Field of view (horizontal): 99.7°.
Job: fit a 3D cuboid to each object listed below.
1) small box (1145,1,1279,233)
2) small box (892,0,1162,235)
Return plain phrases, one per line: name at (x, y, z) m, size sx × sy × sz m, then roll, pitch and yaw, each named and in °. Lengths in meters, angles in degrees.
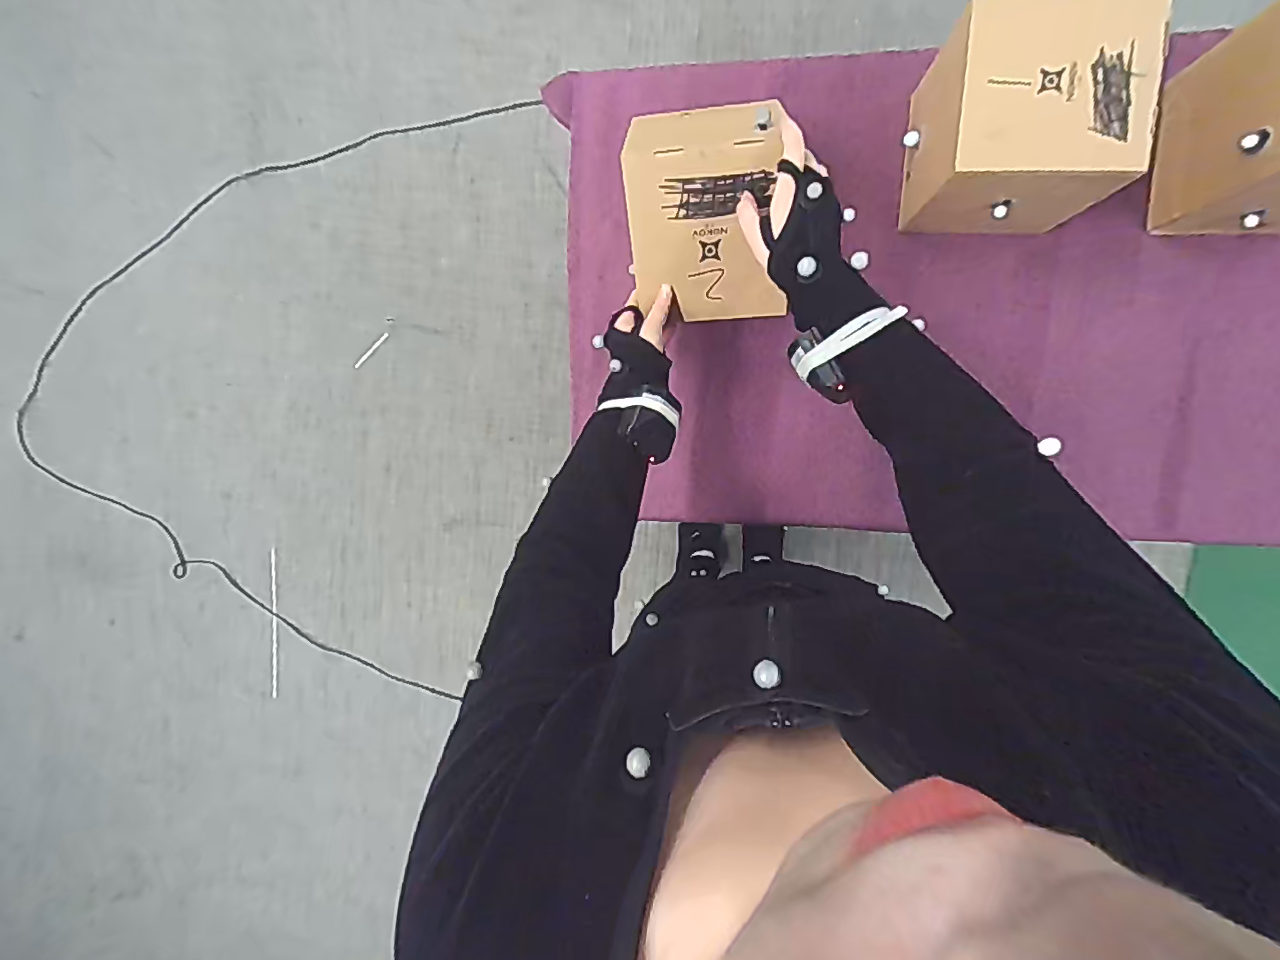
small box at (0.682, -0.377, 0.561) m, size 0.168 × 0.176 × 0.179 m, roll 2°, pitch 97°, yaw 8°
small box at (0.403, -0.384, 0.596) m, size 0.179 × 0.176 × 0.168 m, roll 4°, pitch 96°, yaw 8°
